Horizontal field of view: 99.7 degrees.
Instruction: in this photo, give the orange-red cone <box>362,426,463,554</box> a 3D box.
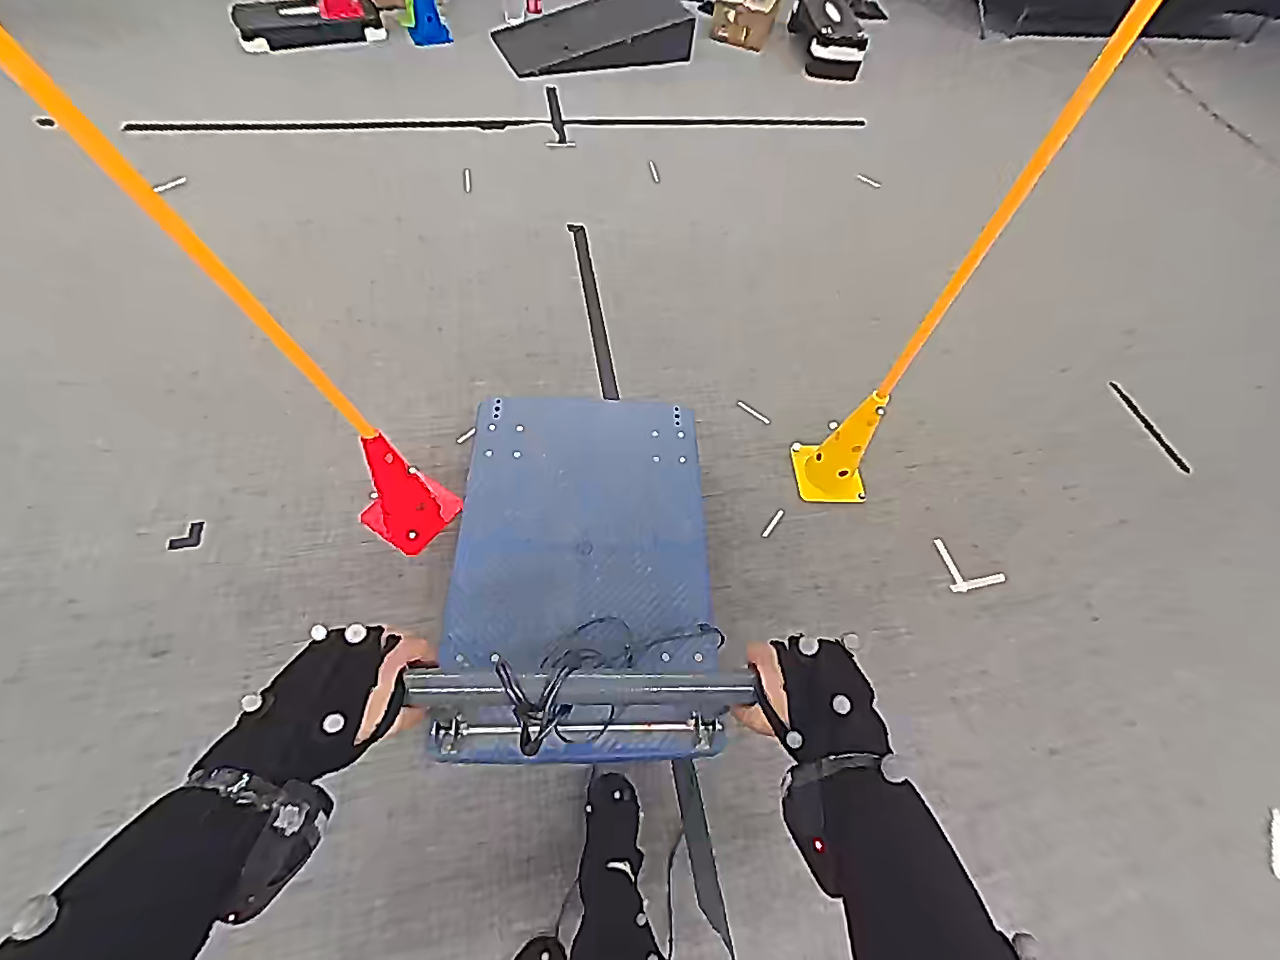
[{"bbox_3d":[-0.579,-0.008,1.287,0.198,0.360,0.199,33,59,12],"label":"orange-red cone"}]
